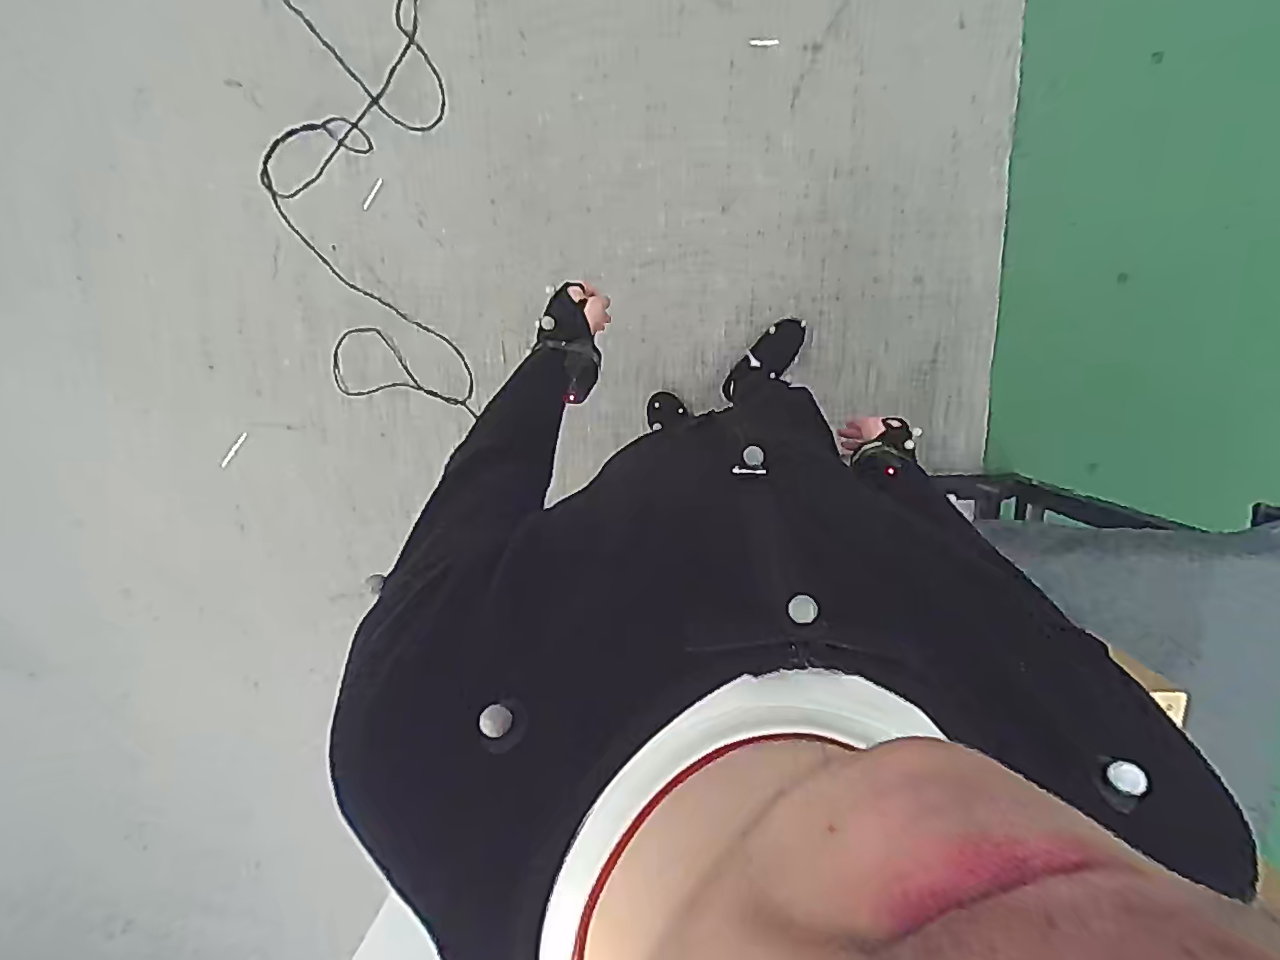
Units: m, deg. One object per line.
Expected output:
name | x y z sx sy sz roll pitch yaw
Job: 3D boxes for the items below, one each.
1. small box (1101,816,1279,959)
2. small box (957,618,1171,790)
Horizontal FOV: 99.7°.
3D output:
small box | 0.858 0.645 0.820 0.179 0.176 0.168 1 103 4
small box | 0.591 0.312 0.782 0.179 0.176 0.168 0 103 4
